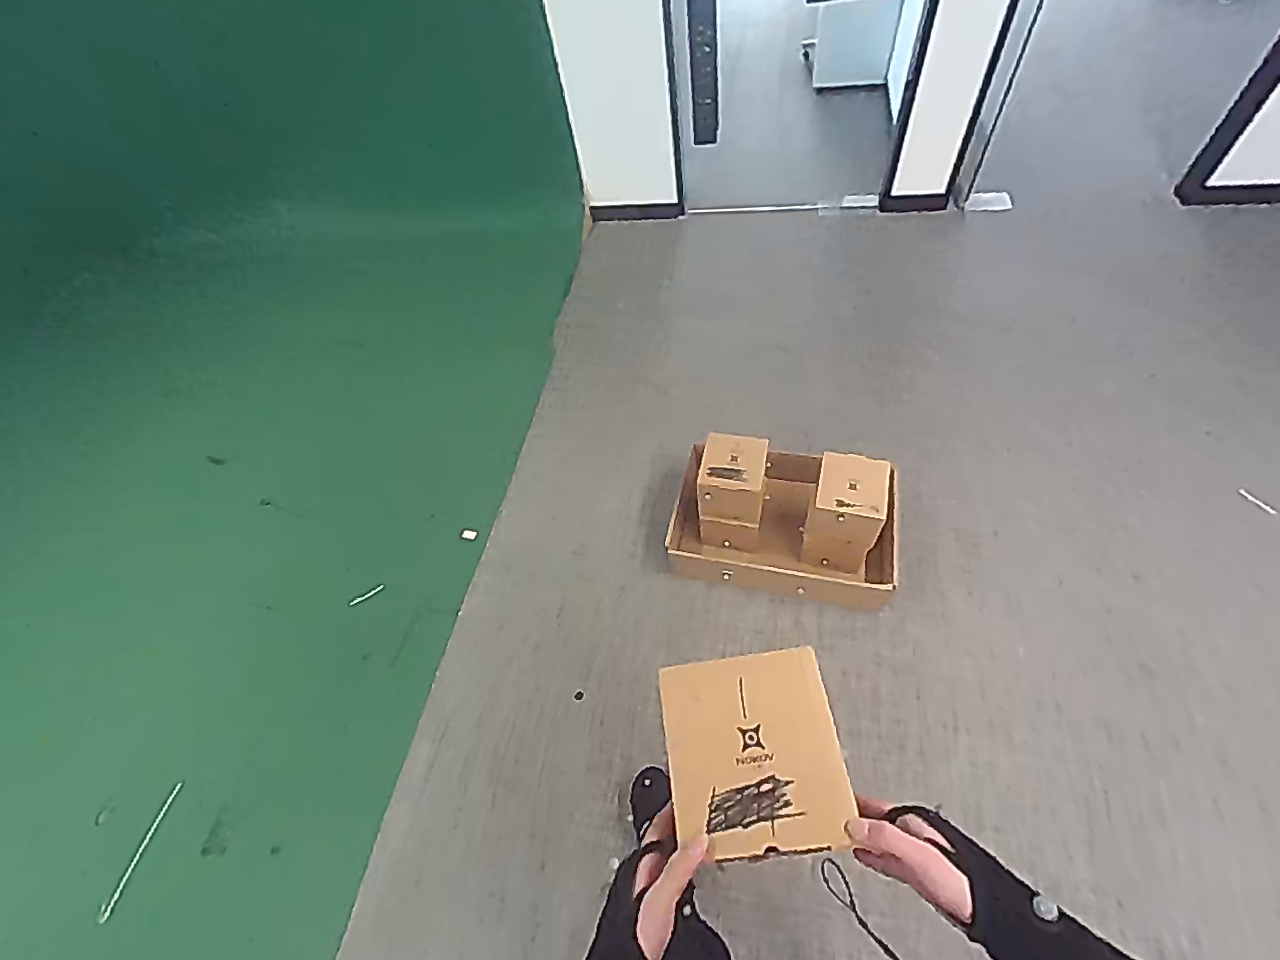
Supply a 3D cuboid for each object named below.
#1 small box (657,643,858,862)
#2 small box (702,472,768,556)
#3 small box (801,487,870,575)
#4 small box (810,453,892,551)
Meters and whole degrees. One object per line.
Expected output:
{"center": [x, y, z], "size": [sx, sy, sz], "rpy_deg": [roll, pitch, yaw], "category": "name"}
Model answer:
{"center": [0.118, 0.295, 0.585], "size": [0.168, 0.176, 0.179], "rpy_deg": [-10, 56, 5], "category": "small box"}
{"center": [0.282, 0.101, 1.618], "size": [0.168, 0.176, 0.179], "rpy_deg": [8, 57, 15], "category": "small box"}
{"center": [0.560, 0.146, 1.542], "size": [0.168, 0.176, 0.179], "rpy_deg": [9, 59, 16], "category": "small box"}
{"center": [0.543, 0.059, 1.403], "size": [0.168, 0.176, 0.179], "rpy_deg": [10, 58, 16], "category": "small box"}
